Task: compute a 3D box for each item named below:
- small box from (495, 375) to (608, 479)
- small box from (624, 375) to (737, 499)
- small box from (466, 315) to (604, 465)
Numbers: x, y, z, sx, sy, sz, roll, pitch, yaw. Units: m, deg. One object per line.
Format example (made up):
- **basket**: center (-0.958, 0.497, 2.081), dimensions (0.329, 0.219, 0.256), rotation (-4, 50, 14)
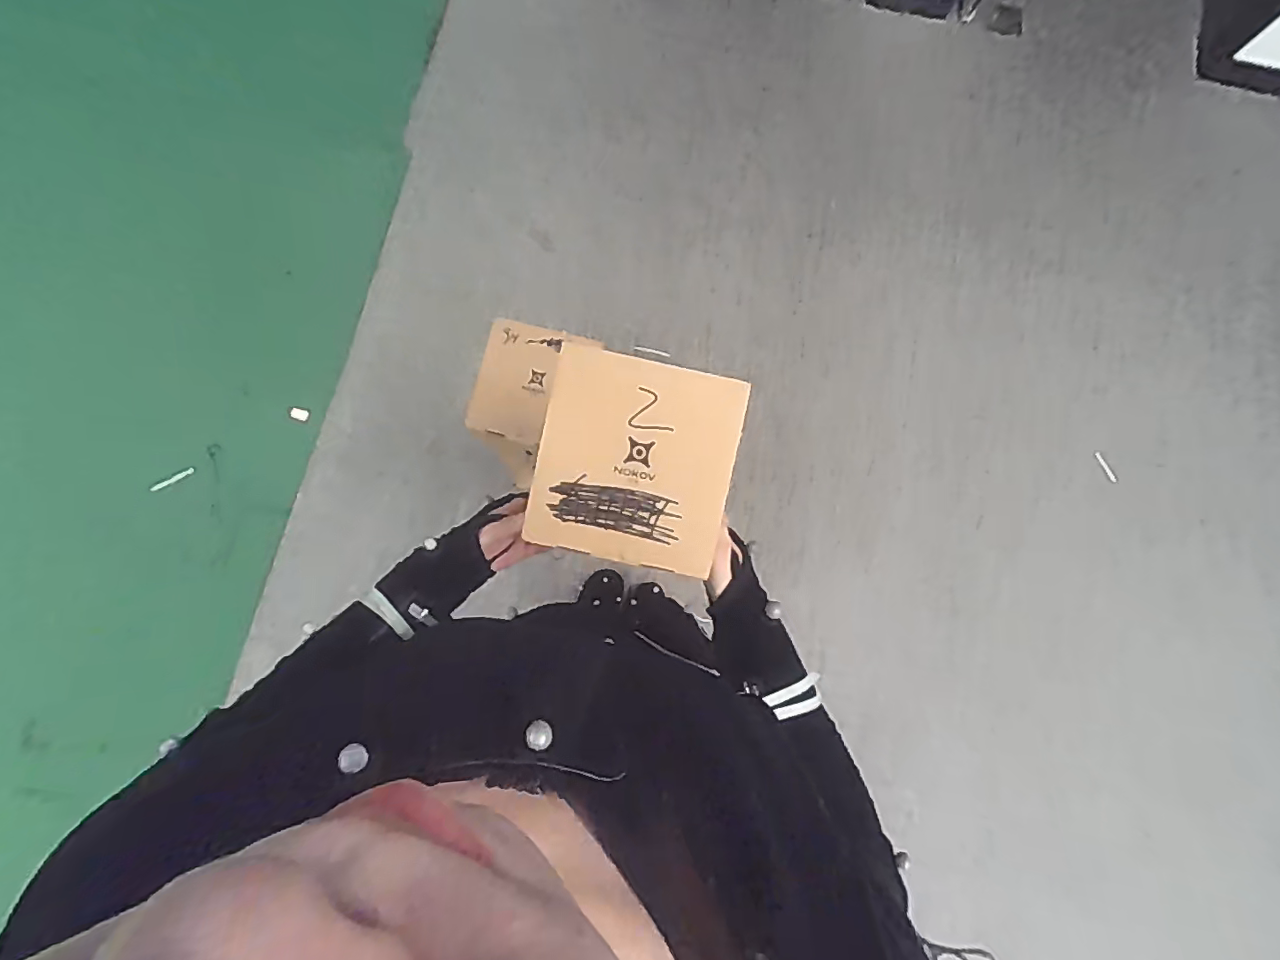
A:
- **small box**: center (-0.162, -0.112, 1.028), dimensions (0.168, 0.176, 0.179), rotation (13, 82, -1)
- **small box**: center (0.072, -0.072, 1.029), dimensions (0.168, 0.176, 0.179), rotation (16, 80, 1)
- **small box**: center (-0.154, -0.131, 0.865), dimensions (0.168, 0.176, 0.179), rotation (14, 82, -1)
